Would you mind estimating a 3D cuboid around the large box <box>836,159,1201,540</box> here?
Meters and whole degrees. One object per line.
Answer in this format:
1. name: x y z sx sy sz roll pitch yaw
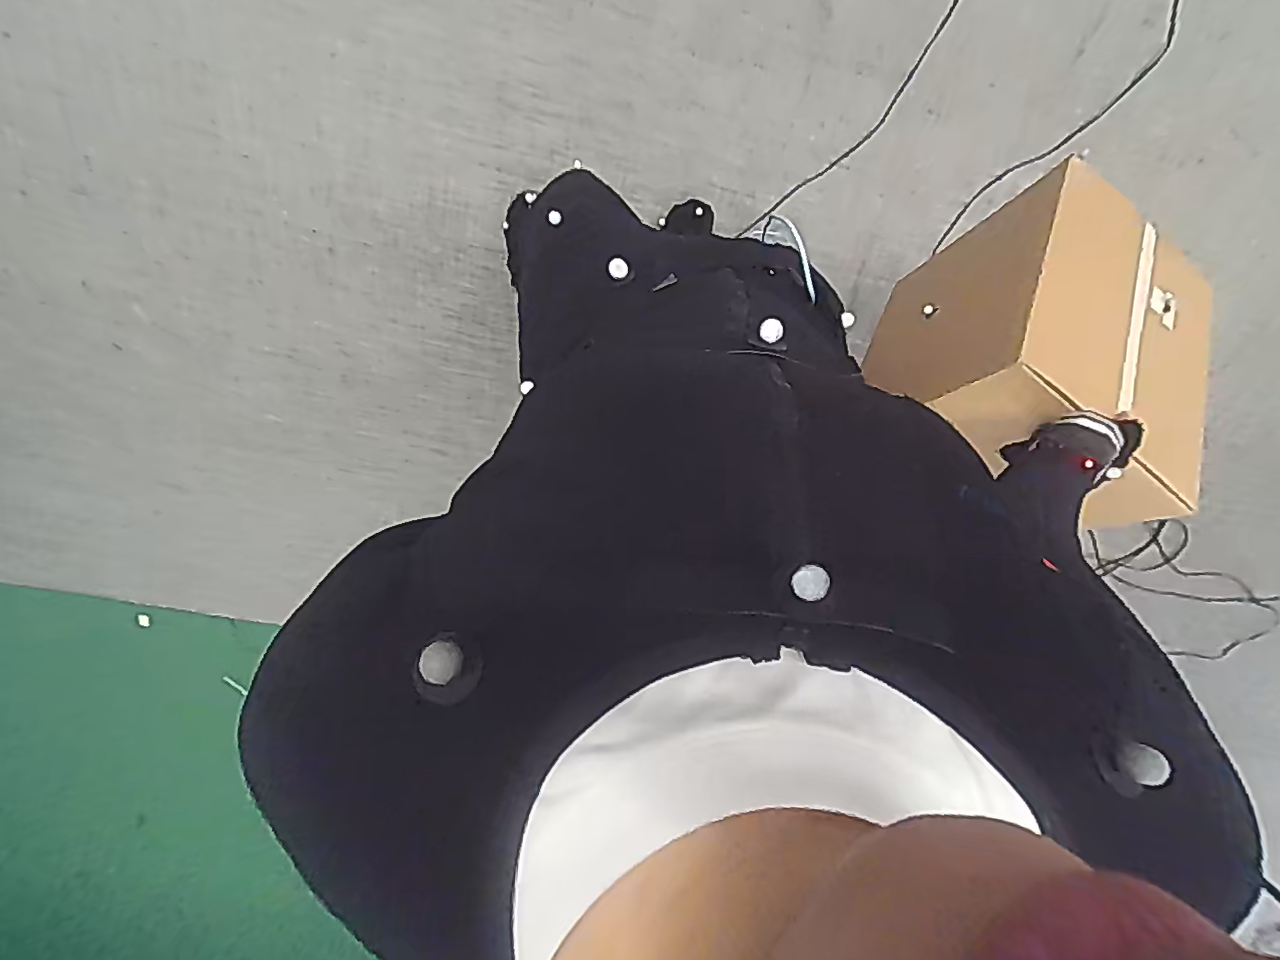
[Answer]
1. large box: 0.568 -0.168 0.832 0.320 0.408 0.320 34 156 -12
